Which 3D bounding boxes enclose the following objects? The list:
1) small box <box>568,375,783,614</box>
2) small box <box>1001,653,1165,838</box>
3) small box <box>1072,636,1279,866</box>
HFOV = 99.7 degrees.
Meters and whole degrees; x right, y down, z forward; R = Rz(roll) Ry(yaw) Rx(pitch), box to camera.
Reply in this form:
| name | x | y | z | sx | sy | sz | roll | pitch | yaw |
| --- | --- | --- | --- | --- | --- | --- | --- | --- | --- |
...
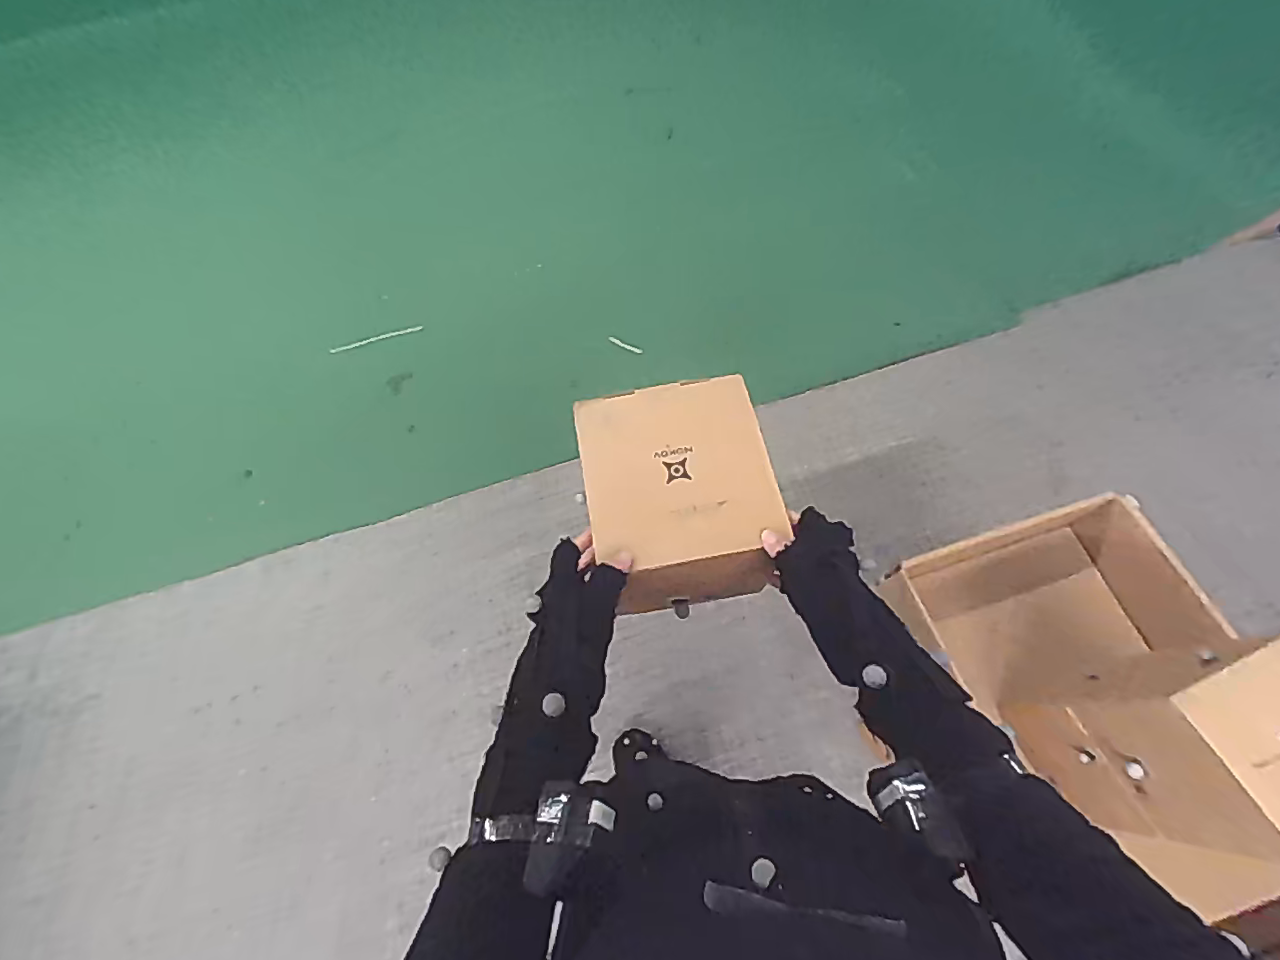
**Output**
| name | x | y | z | sx | sy | sz | roll | pitch | yaw |
| --- | --- | --- | --- | --- | --- | --- | --- | --- | --- |
| small box | 0.028 | 0.023 | 0.554 | 0.168 | 0.176 | 0.179 | -12 | 65 | -2 |
| small box | 0.667 | 0.365 | 0.760 | 0.179 | 0.176 | 0.168 | -23 | 64 | -8 |
| small box | 0.660 | 0.295 | 0.611 | 0.179 | 0.176 | 0.168 | -23 | 65 | -6 |
